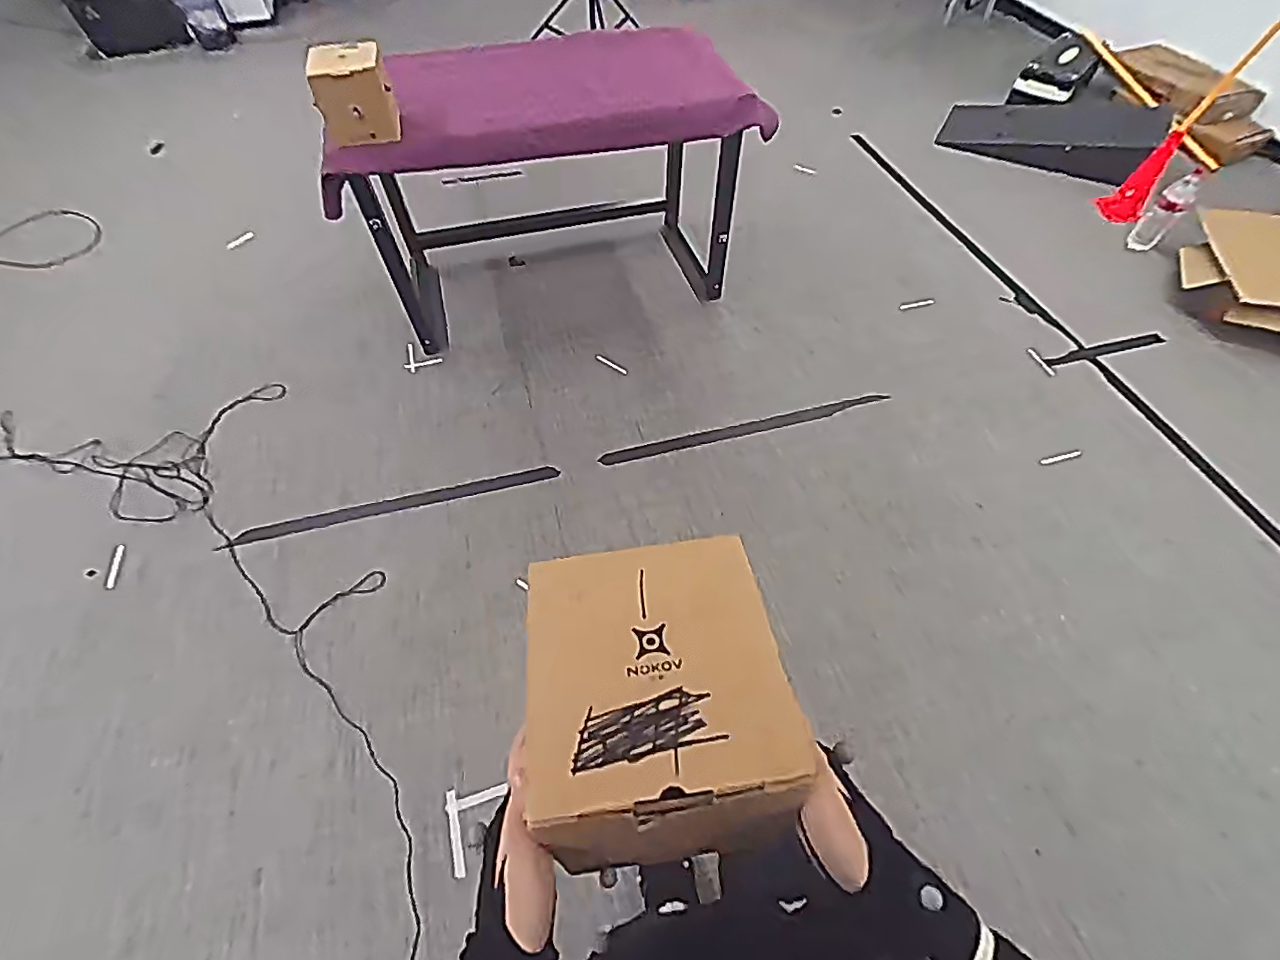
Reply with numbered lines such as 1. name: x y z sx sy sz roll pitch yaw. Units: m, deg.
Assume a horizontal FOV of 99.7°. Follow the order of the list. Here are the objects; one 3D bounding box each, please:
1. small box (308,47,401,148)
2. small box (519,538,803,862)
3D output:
1. small box: -0.740 -0.996 1.418 0.168 0.176 0.179 -12 58 -8
2. small box: 0.009 0.172 0.416 0.168 0.176 0.179 -7 45 -3
